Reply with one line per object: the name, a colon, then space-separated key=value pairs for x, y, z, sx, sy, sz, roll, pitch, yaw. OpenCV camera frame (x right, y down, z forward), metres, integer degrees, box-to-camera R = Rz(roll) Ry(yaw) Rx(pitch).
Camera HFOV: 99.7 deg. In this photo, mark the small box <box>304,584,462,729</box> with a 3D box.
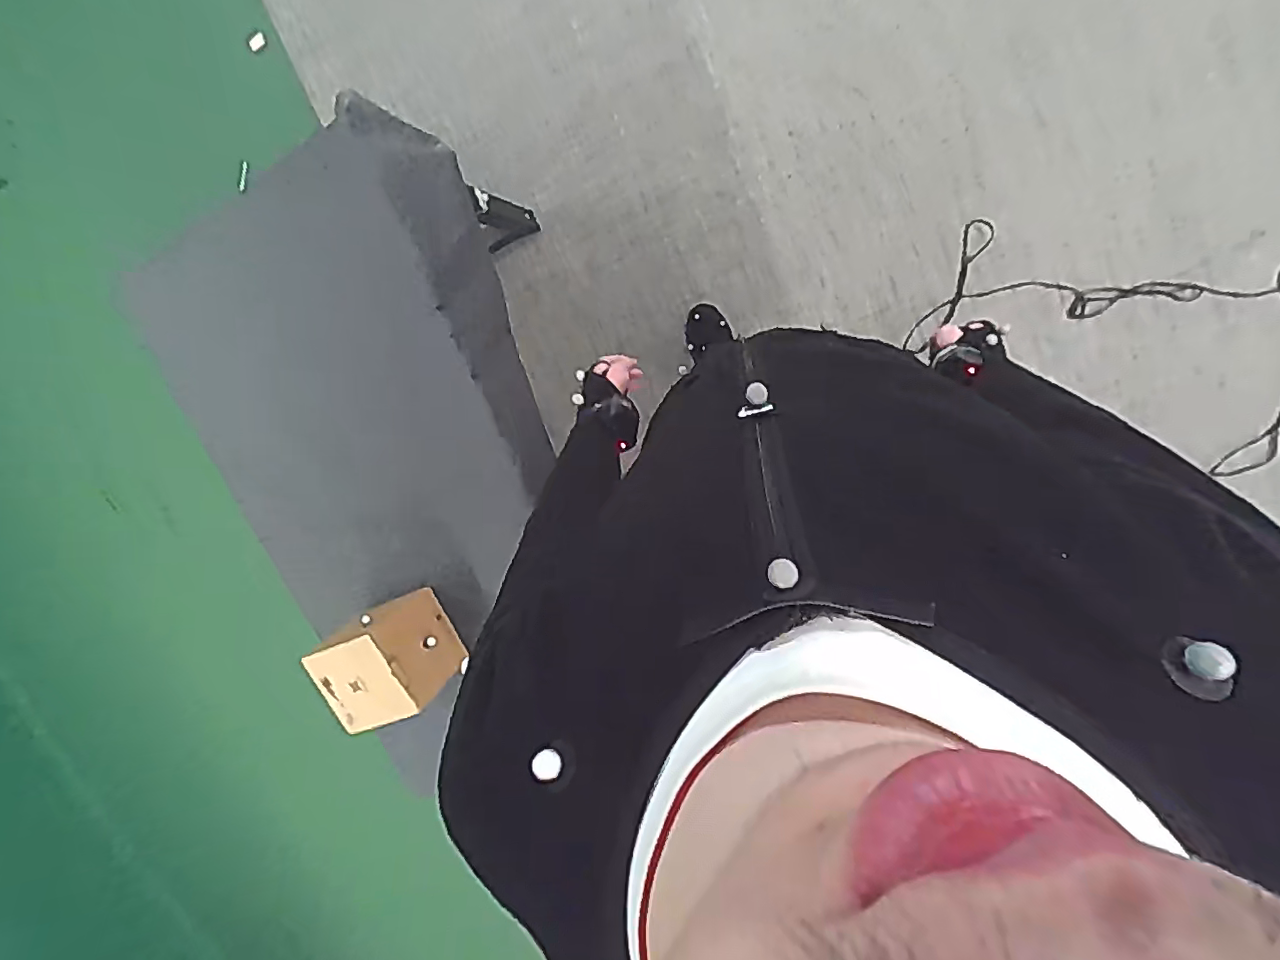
small box: x=-0.460 y=0.320 z=1.004 sx=0.179 sy=0.176 sz=0.168 roll=-25 pitch=101 yaw=20
